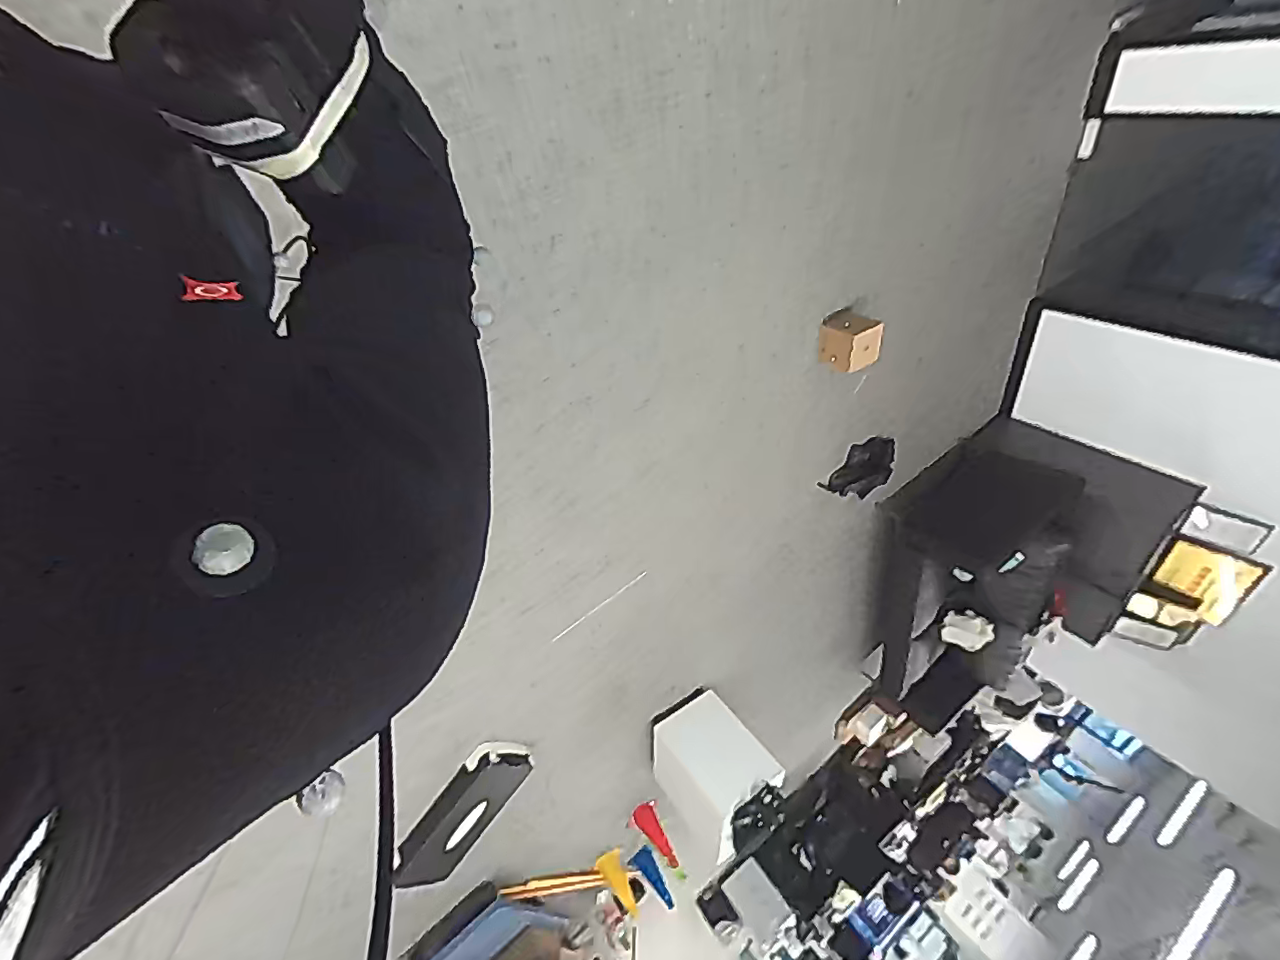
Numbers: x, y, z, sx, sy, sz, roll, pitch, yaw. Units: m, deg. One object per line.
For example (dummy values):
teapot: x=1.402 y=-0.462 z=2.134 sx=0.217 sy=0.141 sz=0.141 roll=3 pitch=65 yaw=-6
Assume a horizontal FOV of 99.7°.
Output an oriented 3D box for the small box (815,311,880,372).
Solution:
small box: x=0.833 y=-0.564 z=2.184 sx=0.179 sy=0.176 sz=0.168 roll=-28 pitch=135 yaw=-23
